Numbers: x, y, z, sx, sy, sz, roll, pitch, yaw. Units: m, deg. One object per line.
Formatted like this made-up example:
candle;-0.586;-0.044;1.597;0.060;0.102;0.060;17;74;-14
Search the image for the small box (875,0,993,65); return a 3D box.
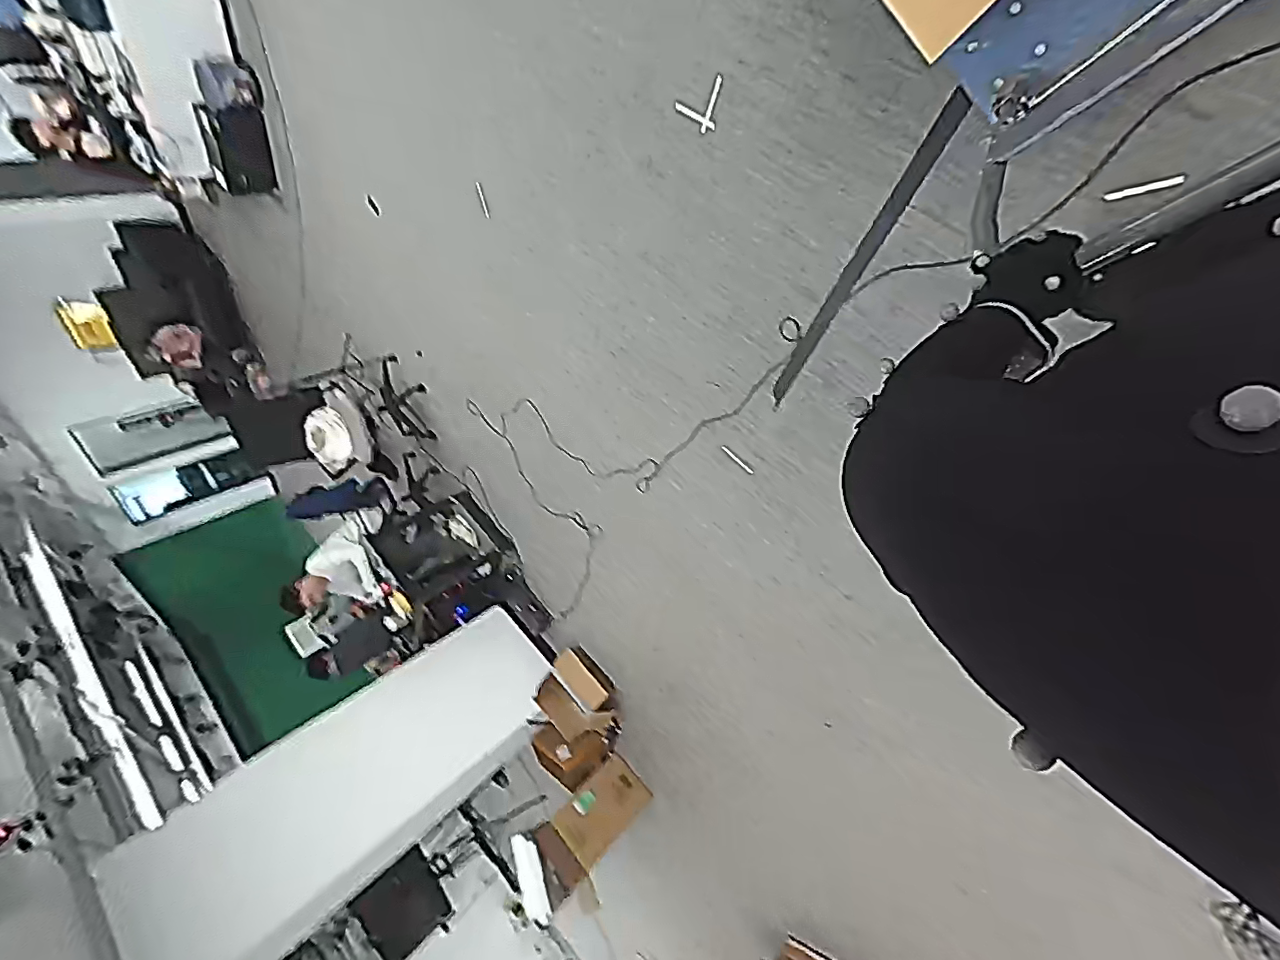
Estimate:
small box;0.492;-0.809;0.846;0.168;0.176;0.179;45;143;-10
